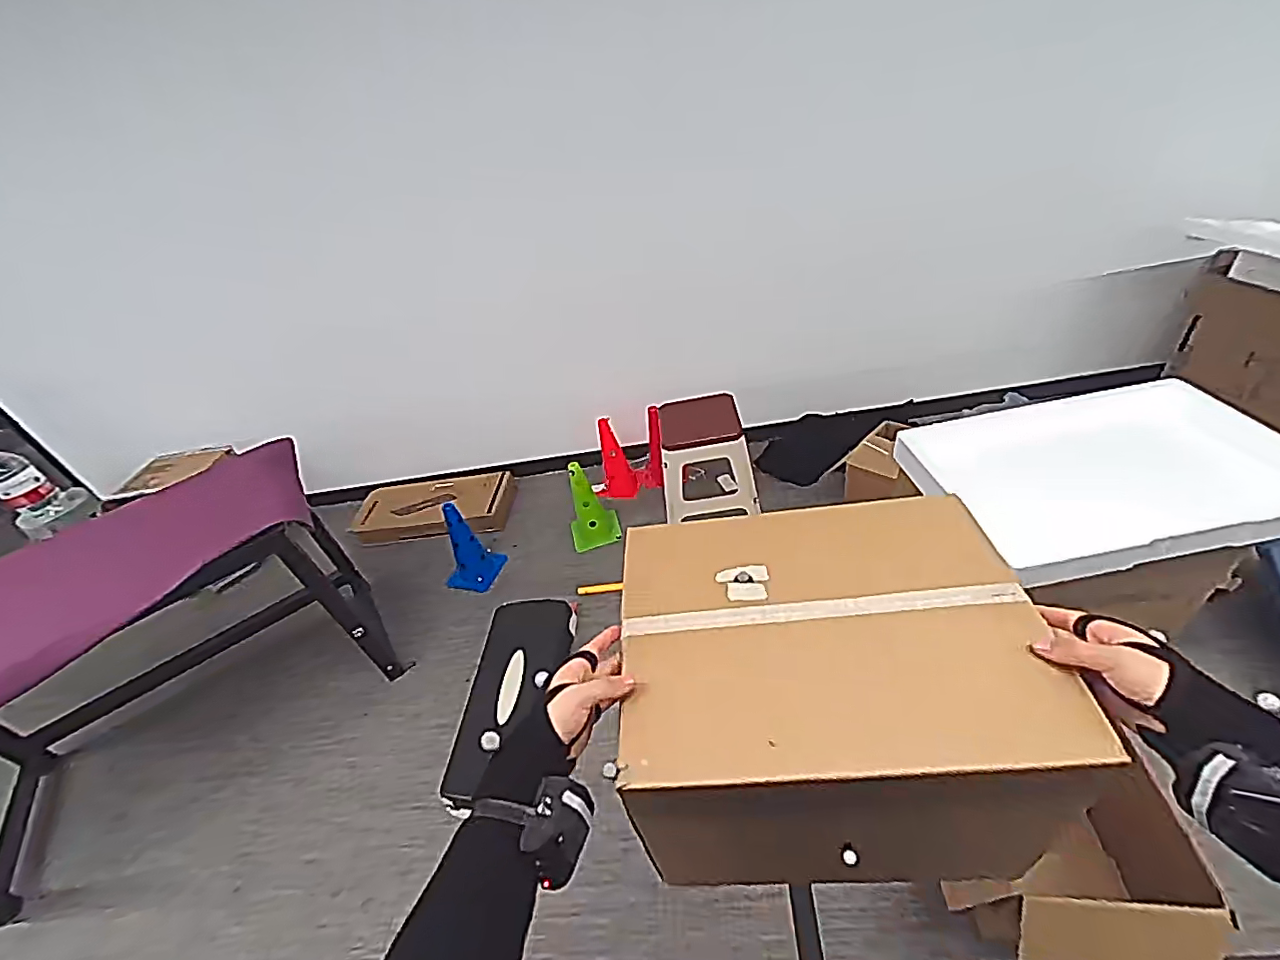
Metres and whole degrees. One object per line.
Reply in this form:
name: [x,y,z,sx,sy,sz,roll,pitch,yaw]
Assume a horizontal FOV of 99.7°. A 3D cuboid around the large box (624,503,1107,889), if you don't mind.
large box: [0.208,0.264,0.658,0.408,0.320,0.320,-8,38,7]
